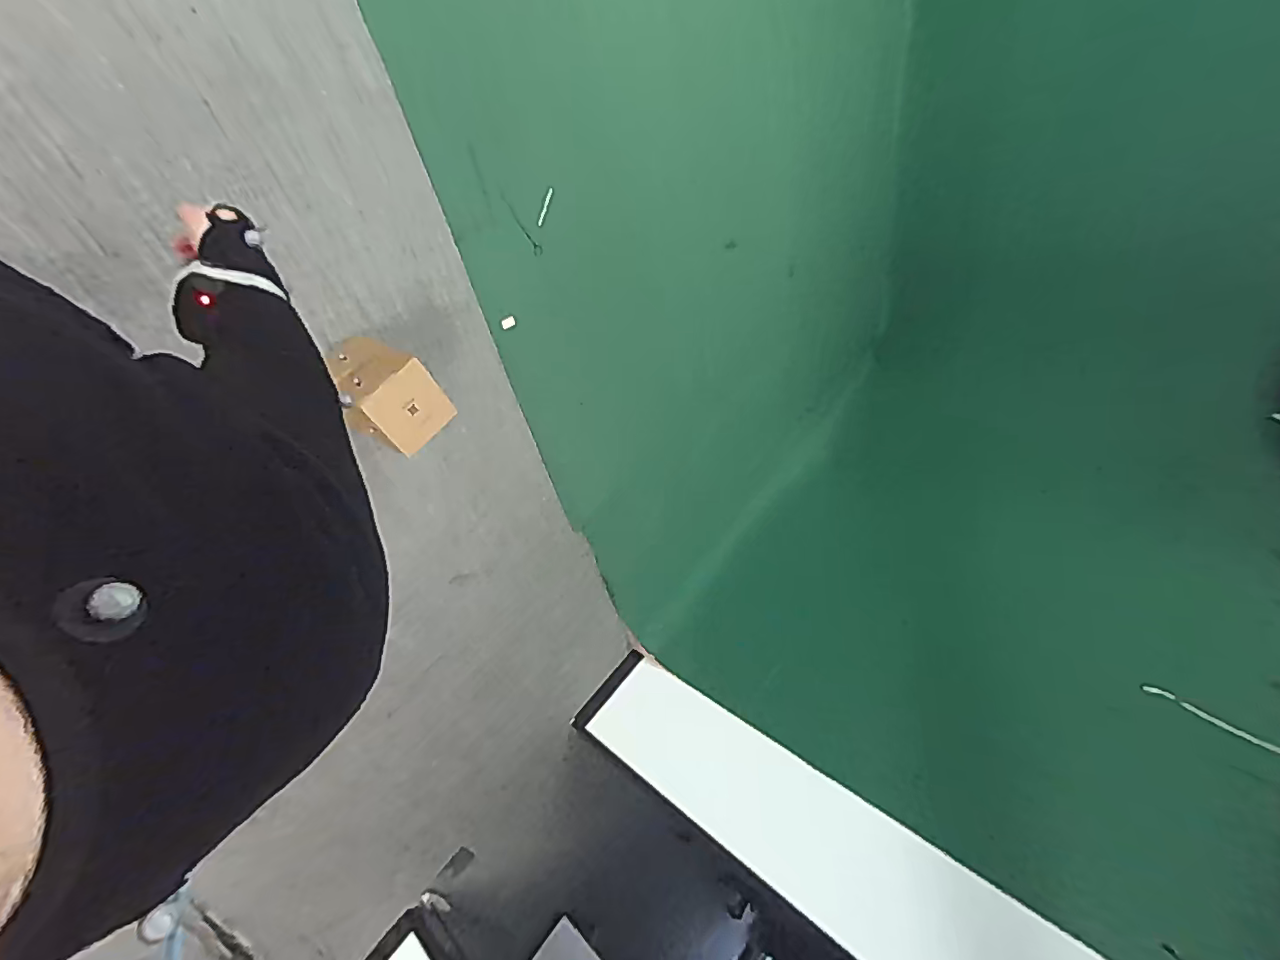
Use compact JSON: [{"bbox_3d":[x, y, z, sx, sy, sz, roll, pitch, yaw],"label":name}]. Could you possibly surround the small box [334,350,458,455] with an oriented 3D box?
[{"bbox_3d":[-0.577,-0.191,1.278,0.168,0.176,0.179,-49,139,-21],"label":"small box"}]
